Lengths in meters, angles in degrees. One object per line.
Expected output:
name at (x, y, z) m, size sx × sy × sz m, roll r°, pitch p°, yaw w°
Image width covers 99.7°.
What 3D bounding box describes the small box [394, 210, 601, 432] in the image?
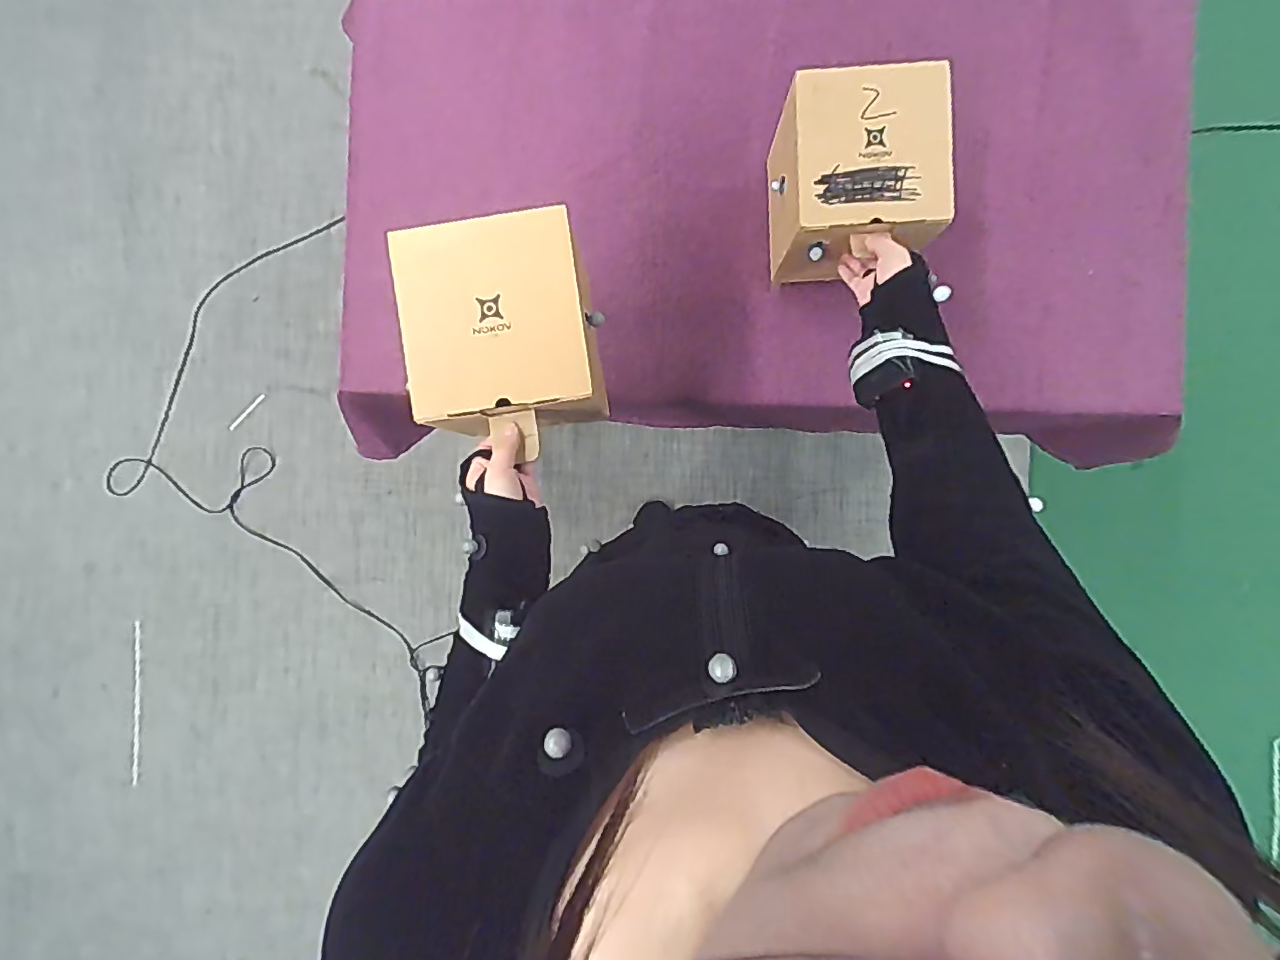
small box at (-0.137, -0.154, 0.580) m, size 0.168 × 0.176 × 0.179 m, roll -8°, pitch 90°, yaw 1°
